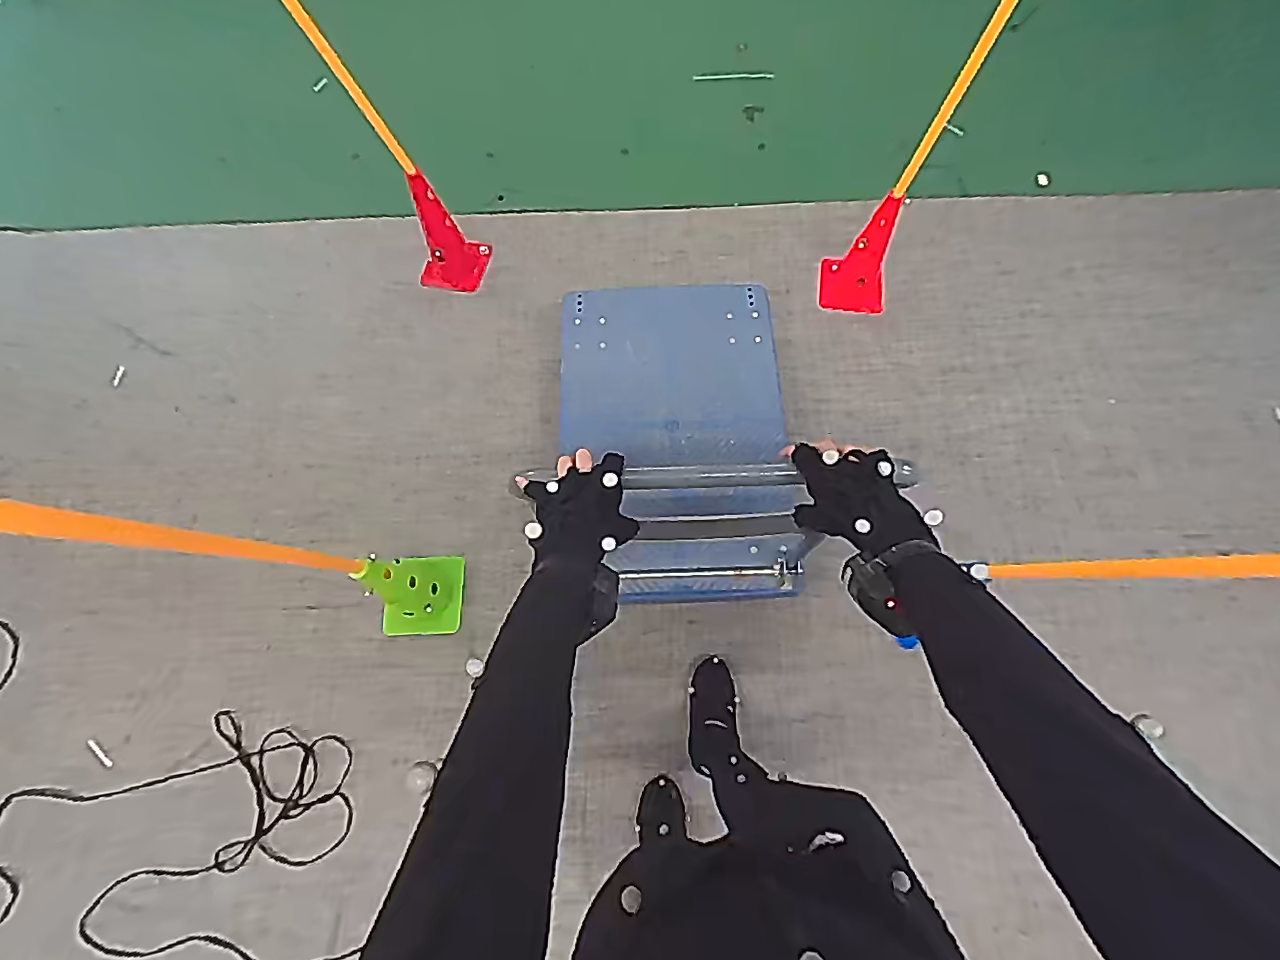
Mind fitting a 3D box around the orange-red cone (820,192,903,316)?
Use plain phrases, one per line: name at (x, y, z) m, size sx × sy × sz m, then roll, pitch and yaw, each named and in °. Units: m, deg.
orange-red cone at (0.677, -0.674, 1.575) m, size 0.198 × 0.360 × 0.199 m, roll 9°, pitch 71°, yaw 6°
